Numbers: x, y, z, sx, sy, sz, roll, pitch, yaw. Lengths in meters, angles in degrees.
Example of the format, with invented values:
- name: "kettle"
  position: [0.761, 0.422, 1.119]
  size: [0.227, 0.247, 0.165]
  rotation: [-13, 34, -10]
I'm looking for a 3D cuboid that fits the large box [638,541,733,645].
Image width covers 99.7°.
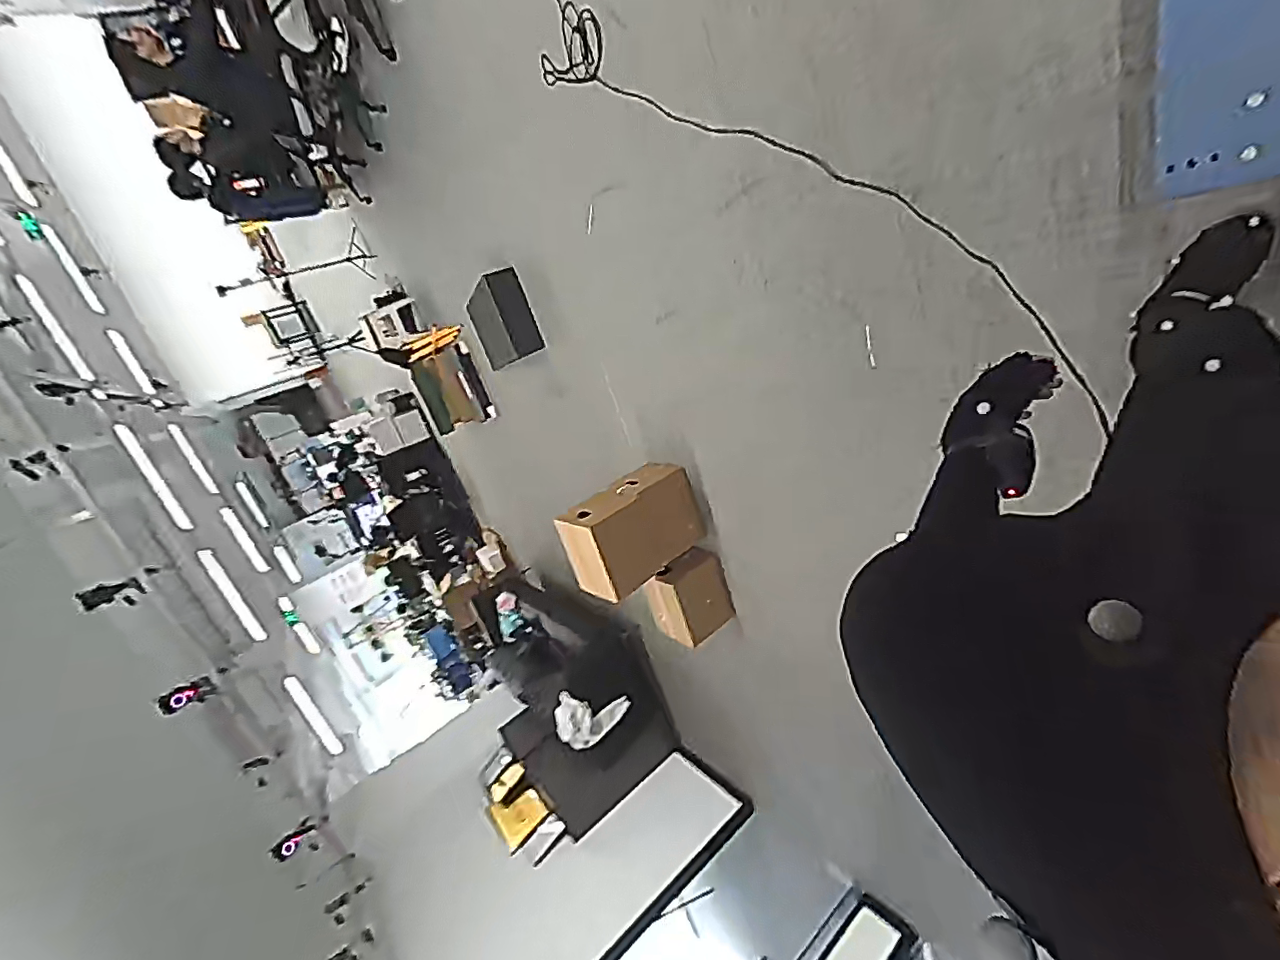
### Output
- name: "large box"
  position: [0.251, 0.594, 2.911]
  size: [0.320, 0.320, 0.408]
  rotation: [12, 127, 55]
